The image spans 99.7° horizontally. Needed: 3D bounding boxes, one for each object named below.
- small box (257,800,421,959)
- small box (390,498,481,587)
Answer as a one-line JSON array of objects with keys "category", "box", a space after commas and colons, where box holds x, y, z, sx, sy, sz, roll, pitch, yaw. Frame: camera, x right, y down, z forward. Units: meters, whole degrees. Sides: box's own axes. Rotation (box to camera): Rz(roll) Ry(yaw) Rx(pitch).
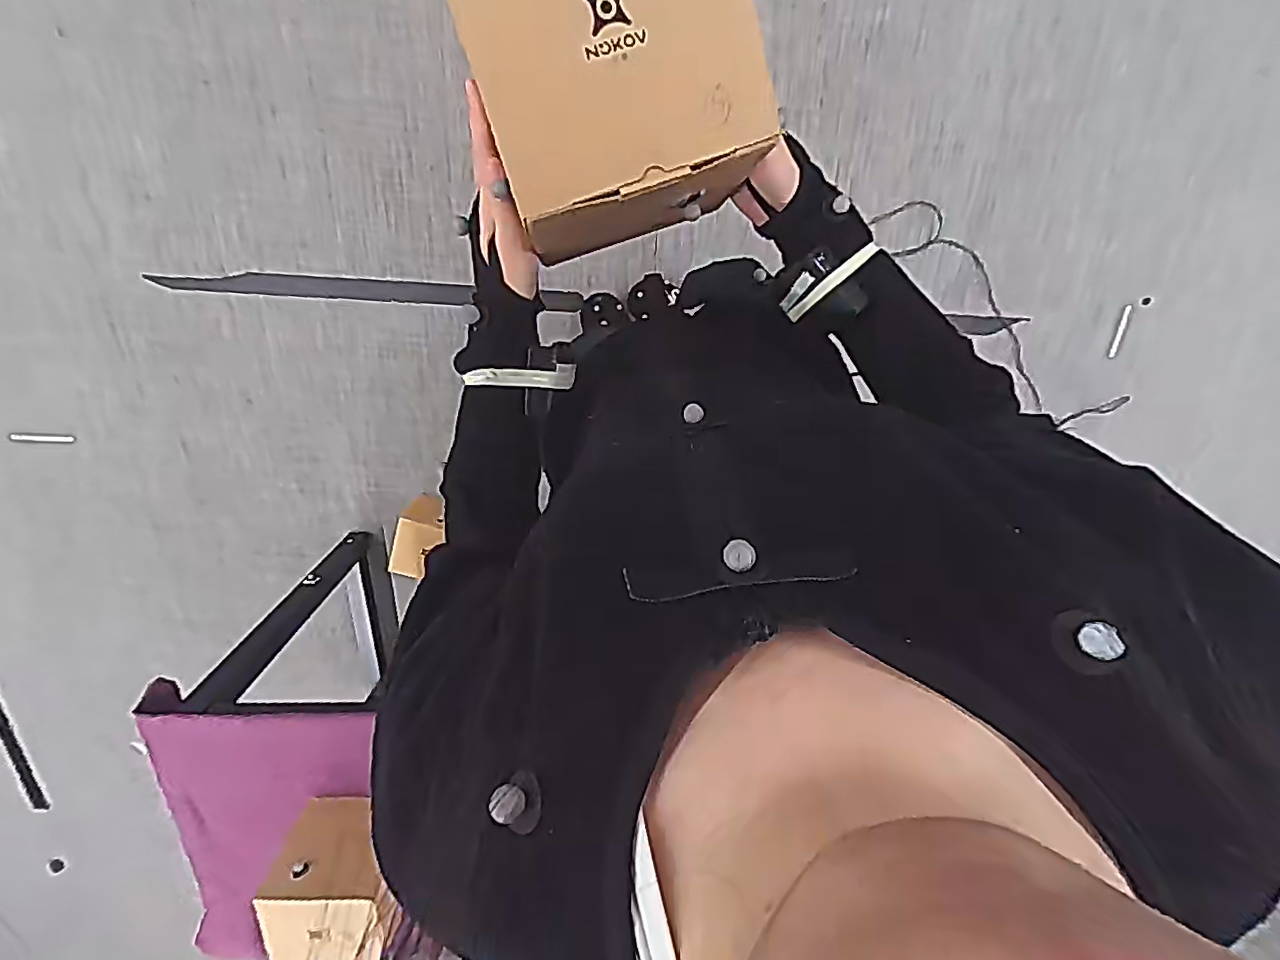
[{"category": "small box", "box": [-0.479, 0.656, 0.889, 0.179, 0.176, 0.168, 3, 111, -5]}, {"category": "small box", "box": [-0.554, 0.163, 1.482, 0.179, 0.176, 0.168, 17, 108, -10]}]
